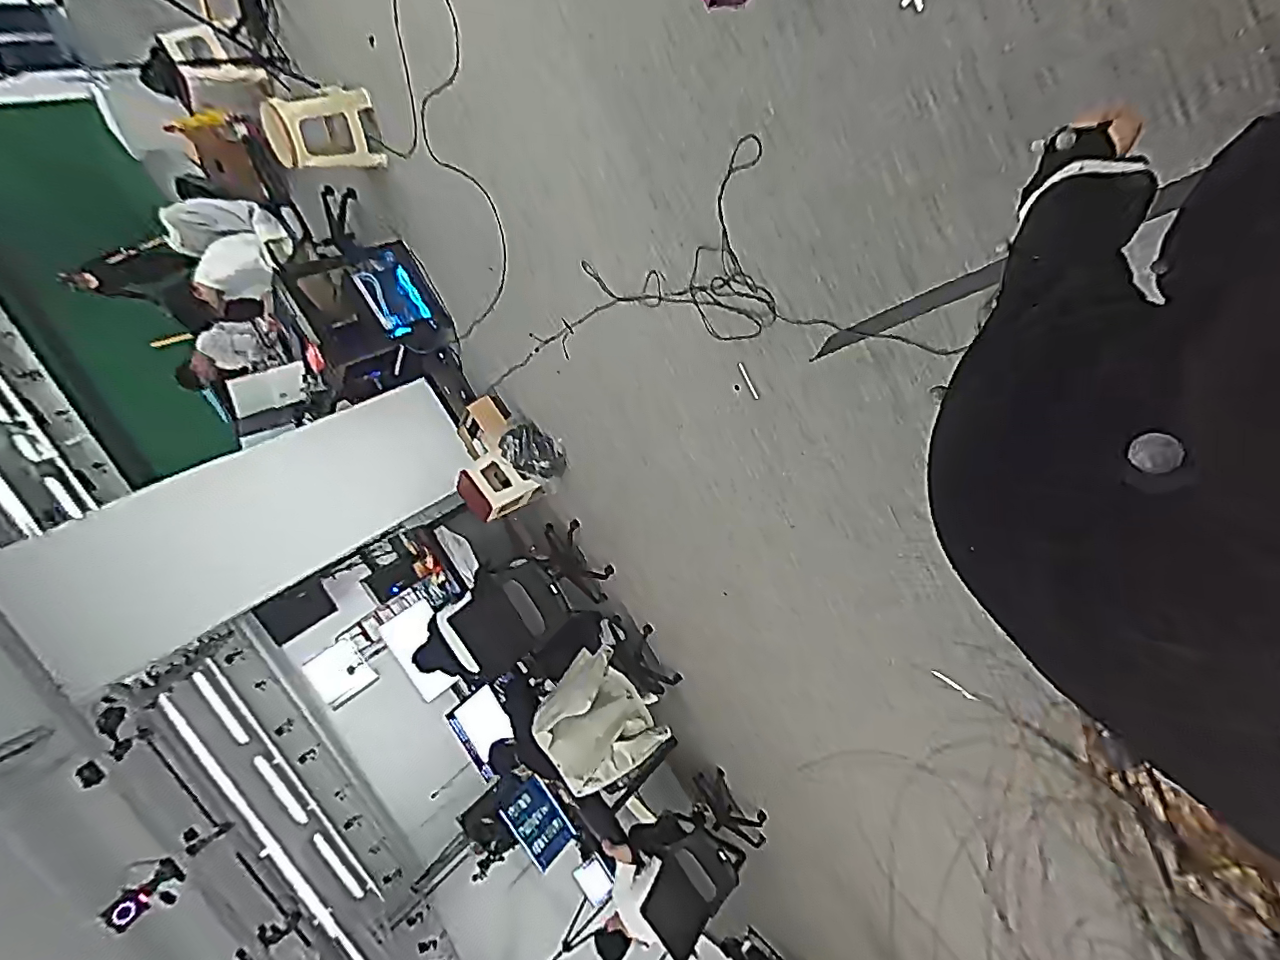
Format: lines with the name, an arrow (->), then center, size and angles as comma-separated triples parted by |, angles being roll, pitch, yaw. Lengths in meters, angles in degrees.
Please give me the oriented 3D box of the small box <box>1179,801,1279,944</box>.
small box -> 1.272, 0.796, 1.106 | 0.168, 0.176, 0.179 | 39, 144, 24
